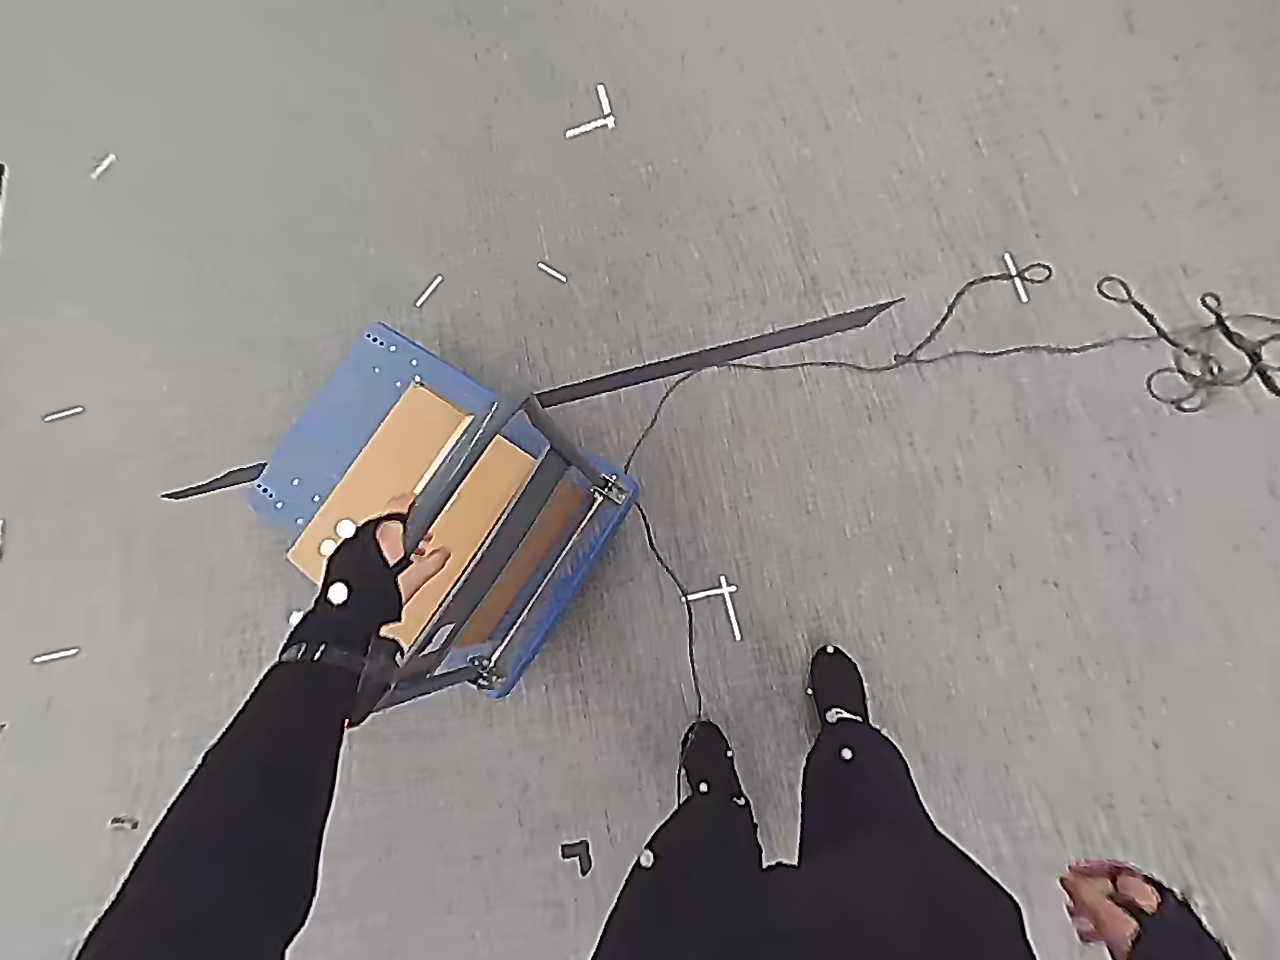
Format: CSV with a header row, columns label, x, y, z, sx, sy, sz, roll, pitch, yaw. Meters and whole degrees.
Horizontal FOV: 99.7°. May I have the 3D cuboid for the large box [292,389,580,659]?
label,x,y,z,sx,sy,sz,roll,pitch,yaw
large box,-0.386,0.101,1.110,0.320,0.320,0.408,32,83,15
